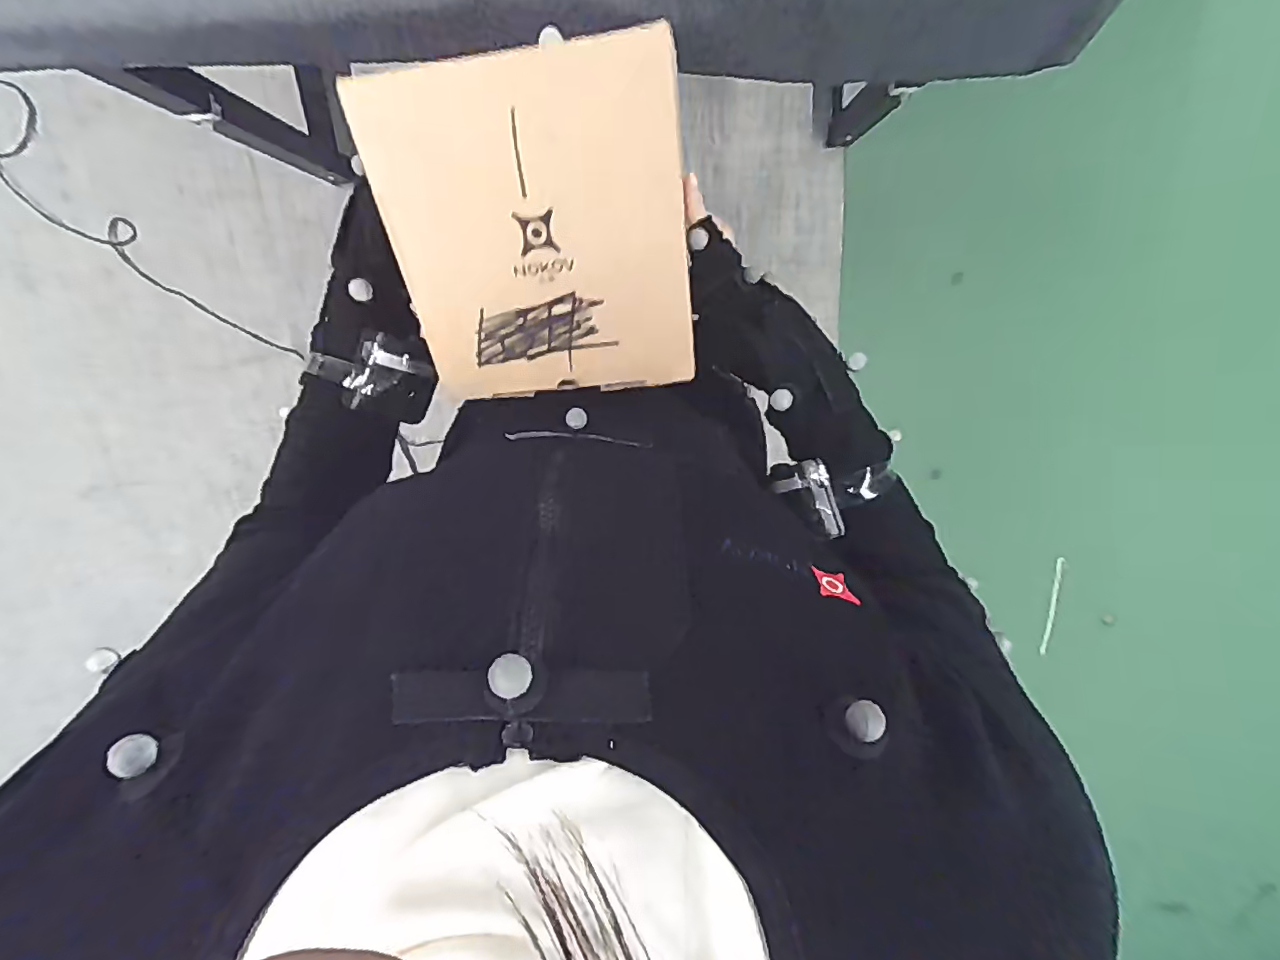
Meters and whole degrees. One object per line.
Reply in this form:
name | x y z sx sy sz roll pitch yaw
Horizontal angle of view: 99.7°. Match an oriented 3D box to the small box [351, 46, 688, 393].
small box | -0.052 -0.178 0.377 0.168 0.176 0.179 -3 124 7
